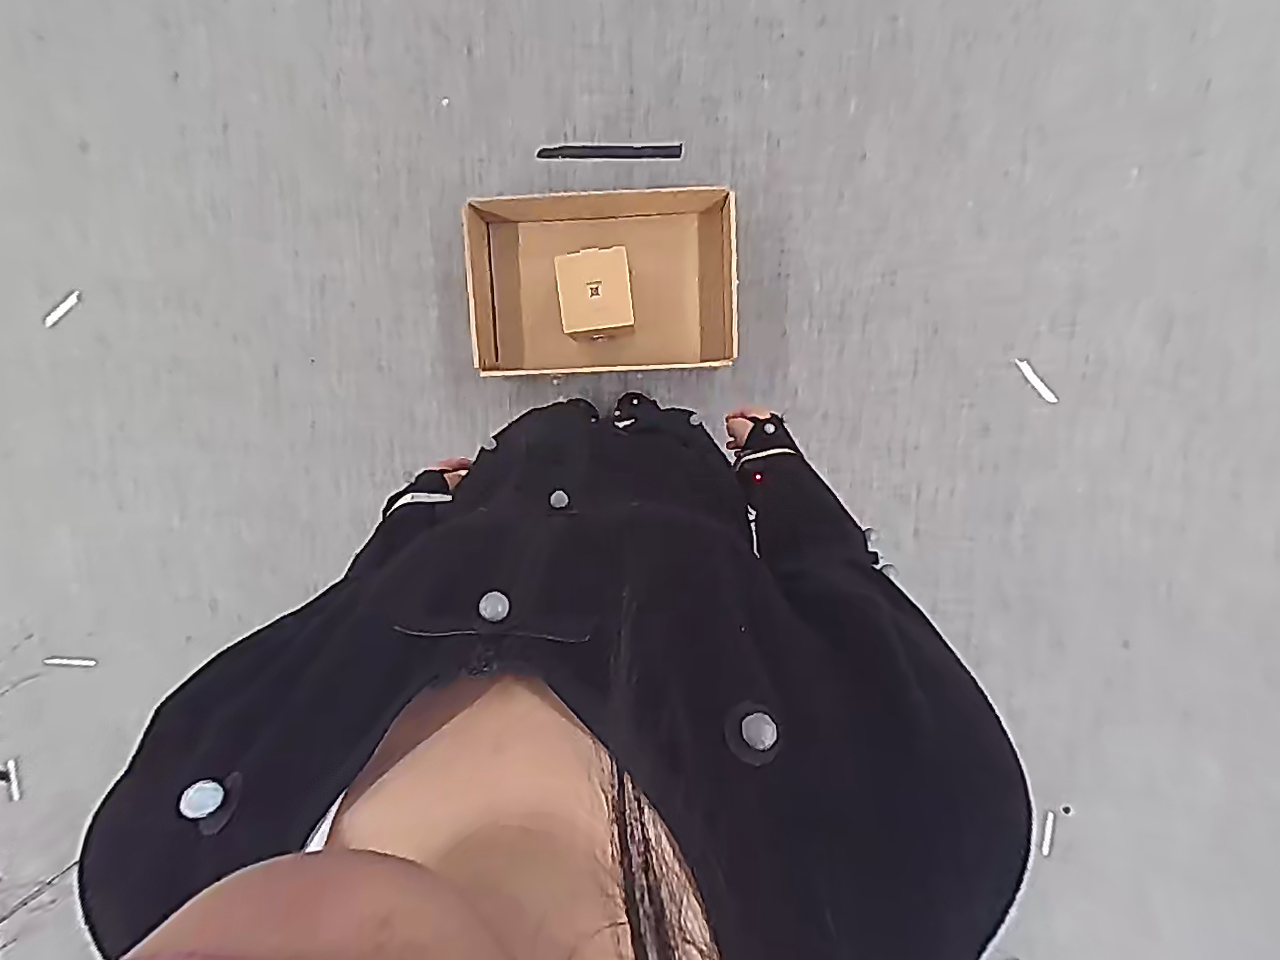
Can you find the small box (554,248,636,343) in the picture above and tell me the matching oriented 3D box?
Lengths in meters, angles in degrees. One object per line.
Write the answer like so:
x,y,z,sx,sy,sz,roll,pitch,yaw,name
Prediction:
-0.103,-0.436,1.302,0.168,0.176,0.179,-7,98,3,small box
